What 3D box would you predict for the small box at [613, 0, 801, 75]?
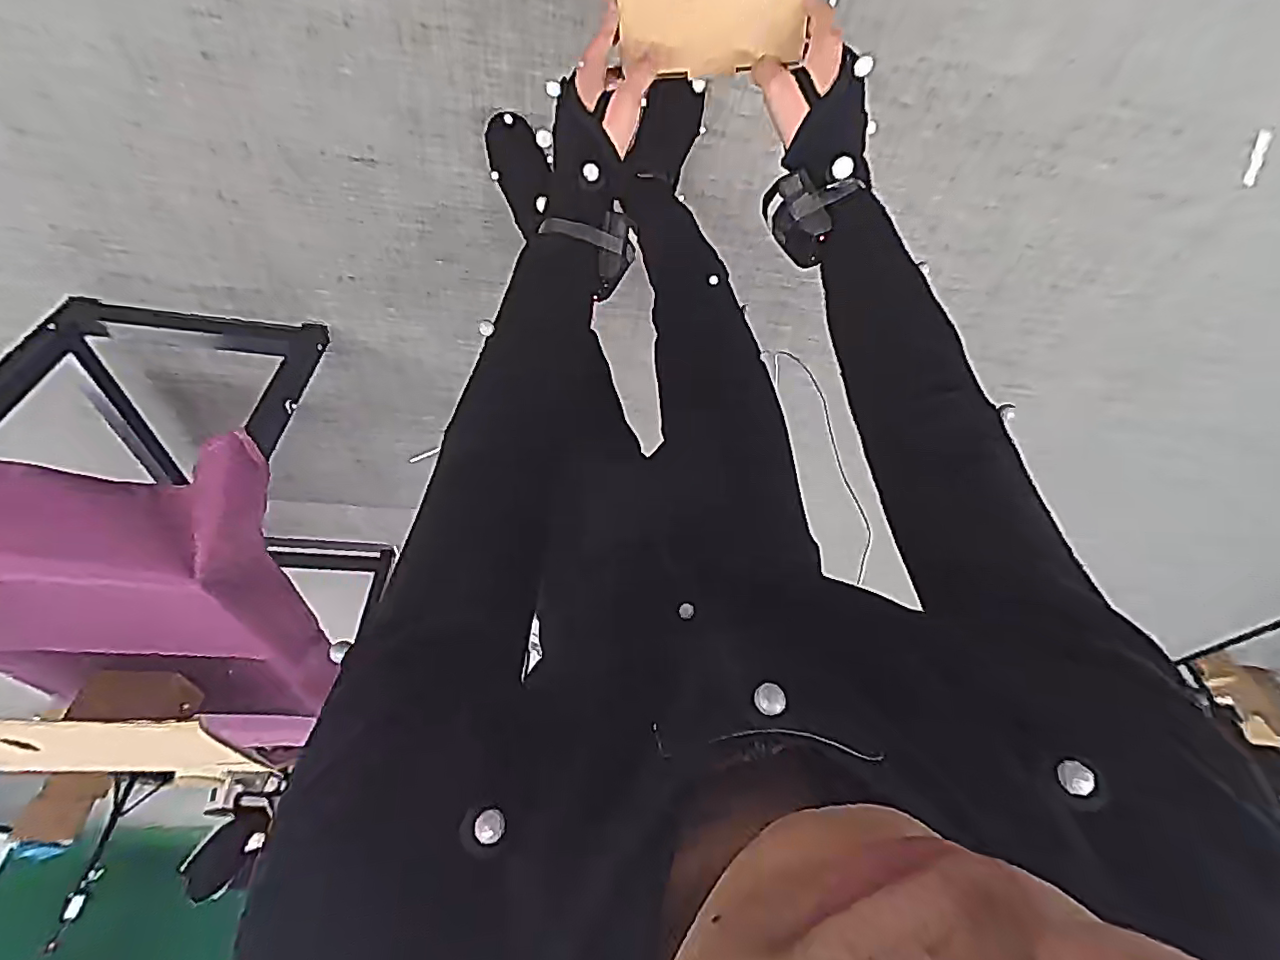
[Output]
[{"bbox_3d":[0.055,-0.498,0.503,0.168,0.176,0.179,-4,130,0],"label":"small box"}]
